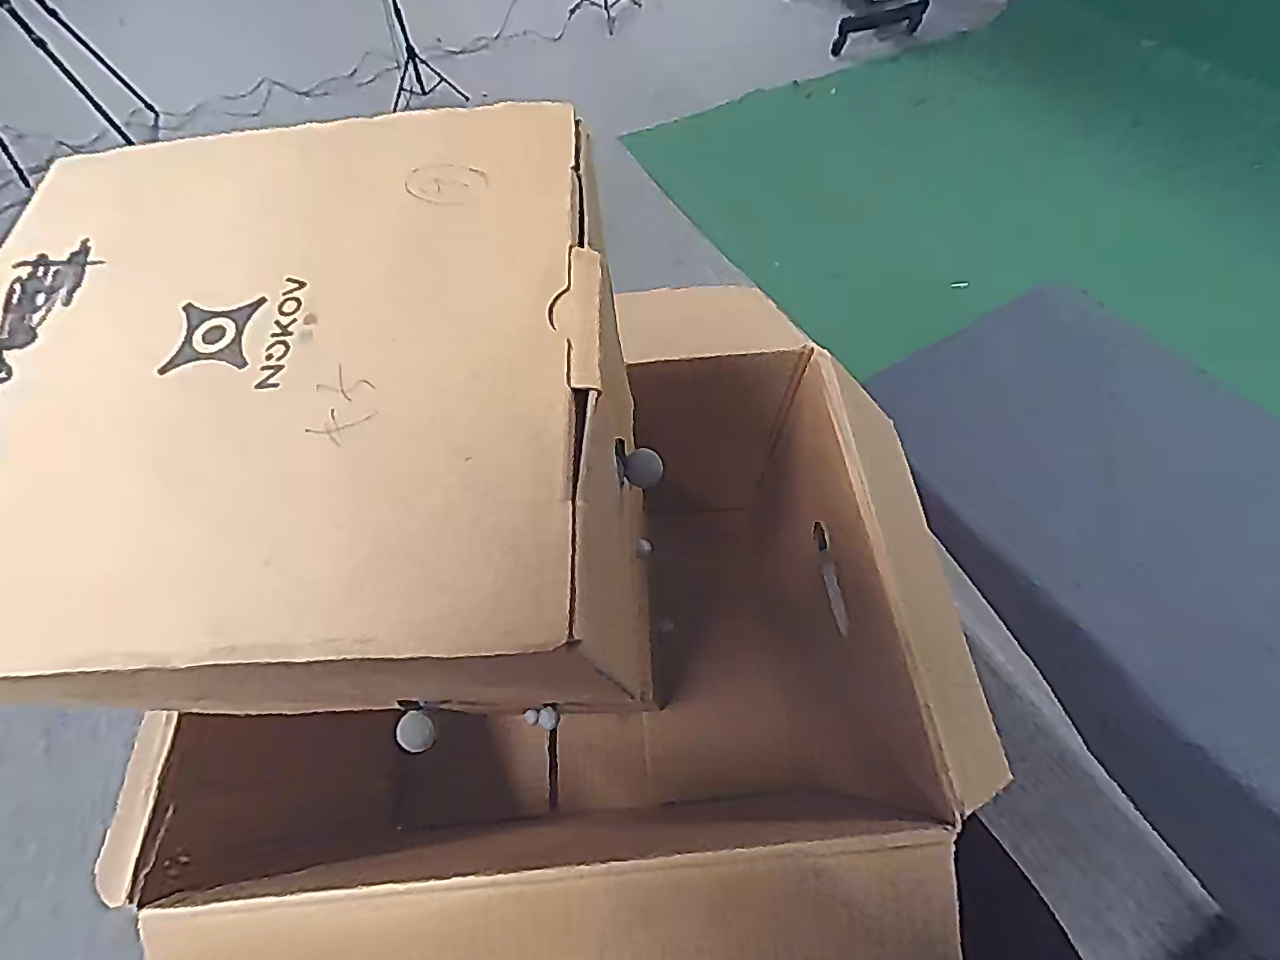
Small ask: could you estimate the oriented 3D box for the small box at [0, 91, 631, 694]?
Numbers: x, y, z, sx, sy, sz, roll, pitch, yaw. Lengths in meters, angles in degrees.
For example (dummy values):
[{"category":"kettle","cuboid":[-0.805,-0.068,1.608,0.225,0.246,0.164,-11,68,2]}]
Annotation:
[{"category":"small box","cuboid":[-0.094,-0.010,0.212,0.179,0.176,0.168,-3,65,2]}]
